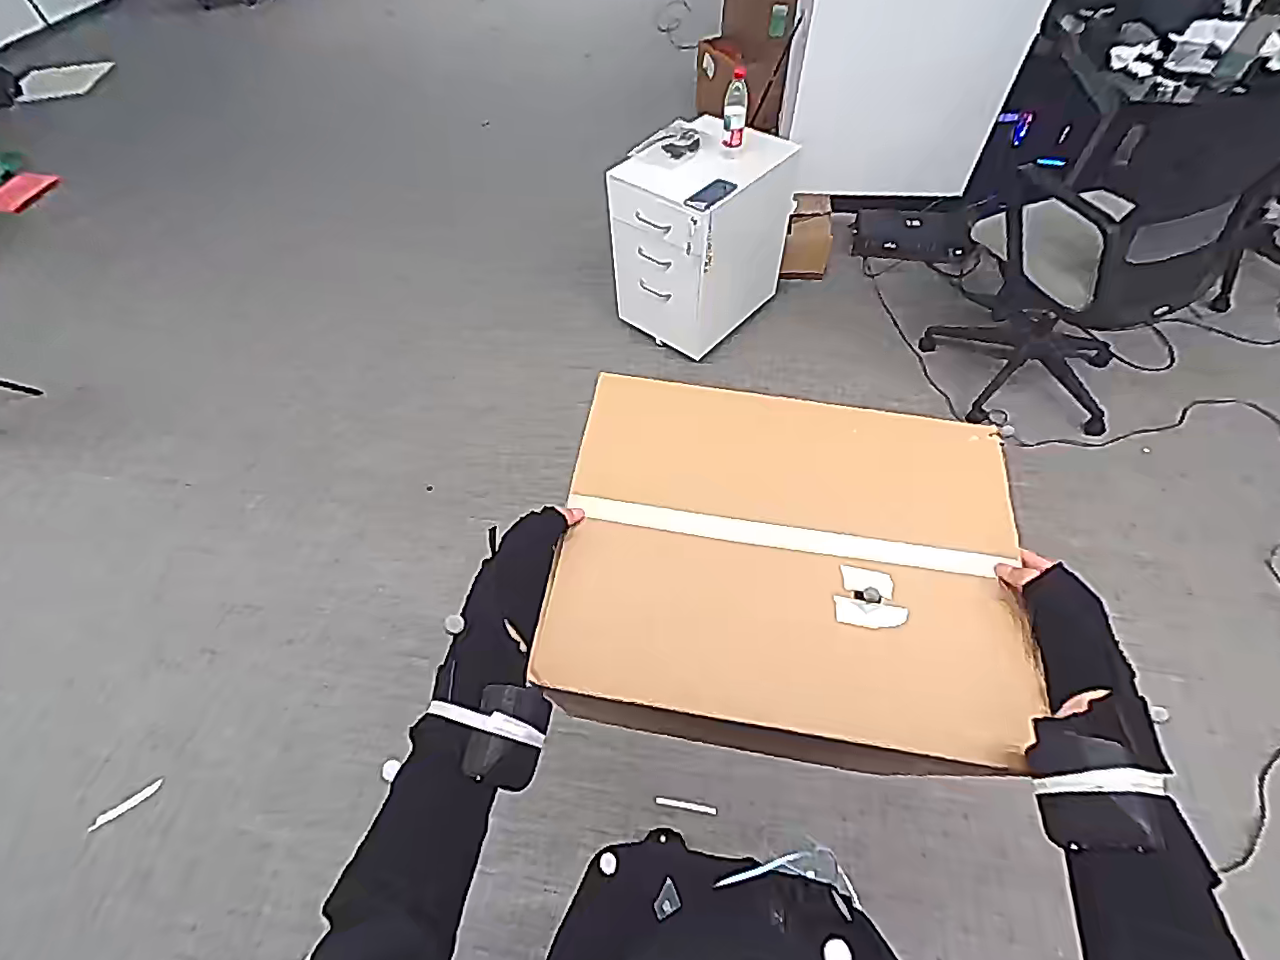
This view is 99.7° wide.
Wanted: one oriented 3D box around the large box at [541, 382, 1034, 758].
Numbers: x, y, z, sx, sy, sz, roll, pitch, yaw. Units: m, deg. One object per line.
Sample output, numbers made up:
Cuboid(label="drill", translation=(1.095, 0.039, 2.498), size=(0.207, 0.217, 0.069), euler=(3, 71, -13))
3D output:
Cuboid(label="large box", translation=(0.129, 0.122, 0.630), size=(0.408, 0.320, 0.320), euler=(8, 63, 3))
